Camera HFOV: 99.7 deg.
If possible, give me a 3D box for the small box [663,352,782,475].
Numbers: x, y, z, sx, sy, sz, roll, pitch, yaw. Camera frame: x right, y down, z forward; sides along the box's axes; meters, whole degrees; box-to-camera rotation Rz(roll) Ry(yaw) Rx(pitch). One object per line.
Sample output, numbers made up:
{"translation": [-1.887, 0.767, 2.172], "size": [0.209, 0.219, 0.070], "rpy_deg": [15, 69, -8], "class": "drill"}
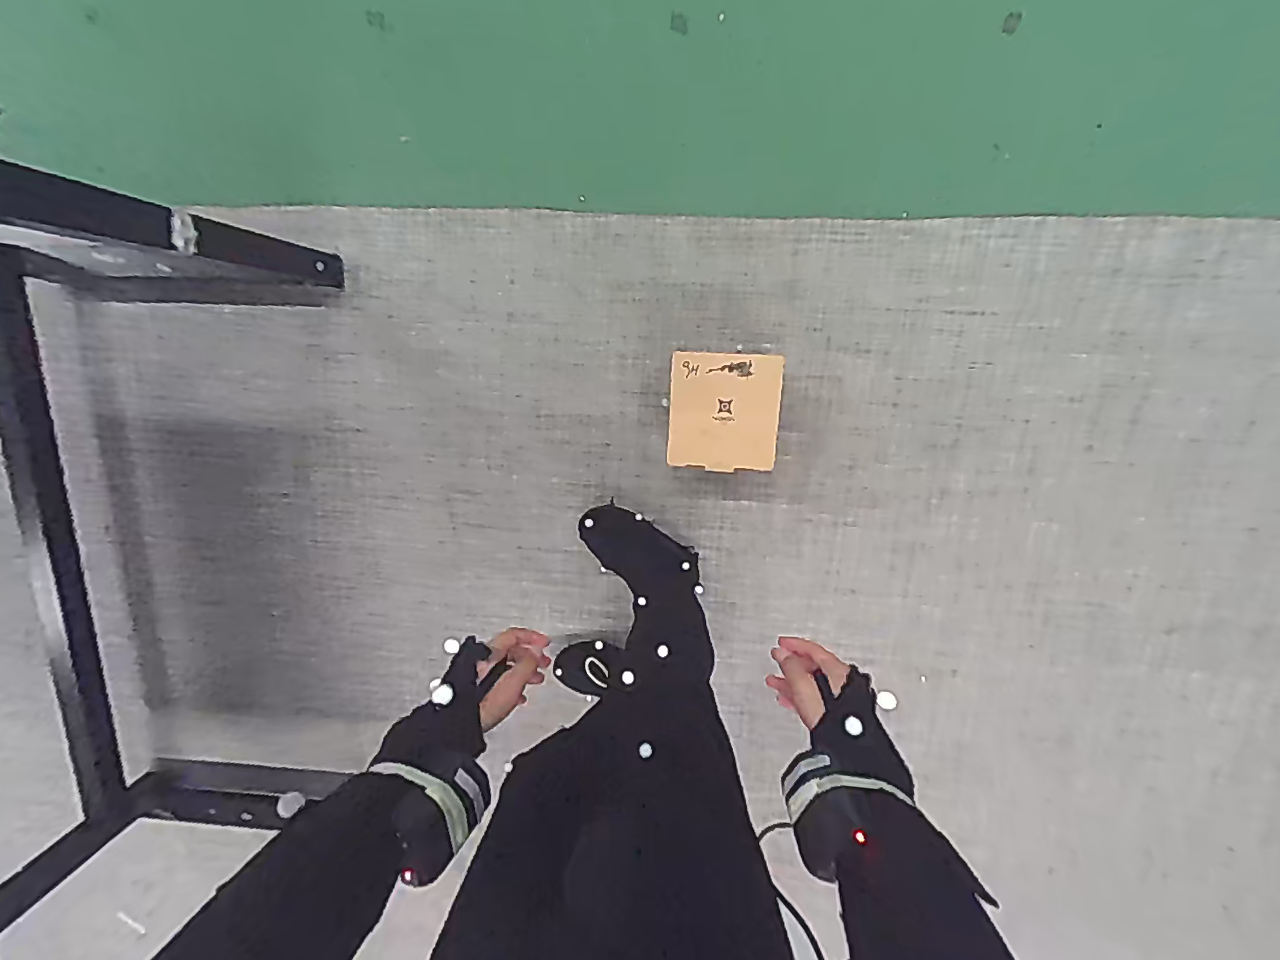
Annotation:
{"translation": [0.129, -0.116, 0.884], "size": [0.168, 0.176, 0.179], "rpy_deg": [3, 103, 4], "class": "small box"}
